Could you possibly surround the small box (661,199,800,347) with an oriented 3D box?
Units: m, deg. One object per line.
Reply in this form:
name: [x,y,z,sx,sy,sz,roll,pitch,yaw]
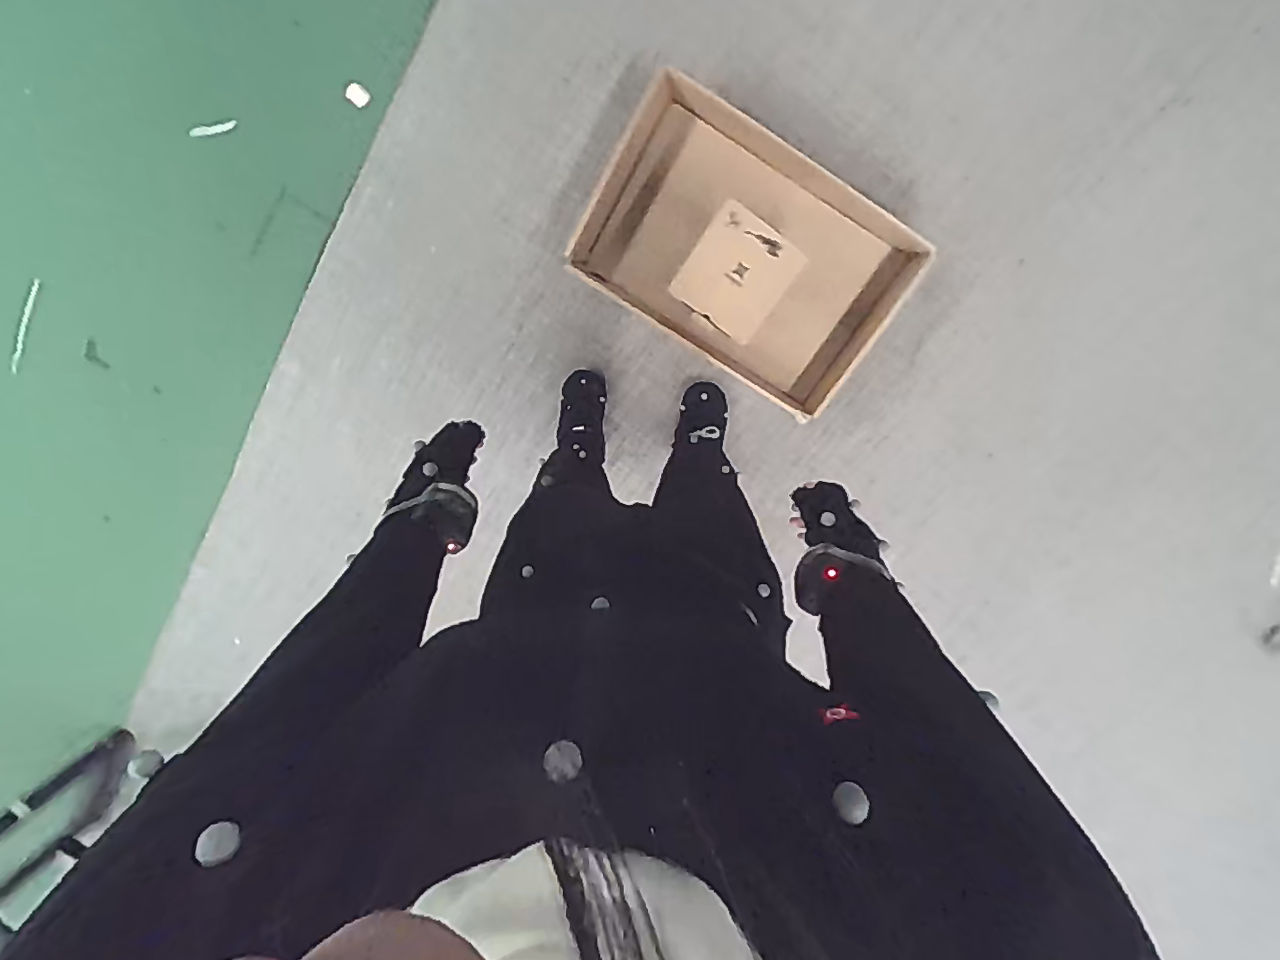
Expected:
small box: [0.158,-0.363,0.971,0.168,0.176,0.179,35,108,-6]
